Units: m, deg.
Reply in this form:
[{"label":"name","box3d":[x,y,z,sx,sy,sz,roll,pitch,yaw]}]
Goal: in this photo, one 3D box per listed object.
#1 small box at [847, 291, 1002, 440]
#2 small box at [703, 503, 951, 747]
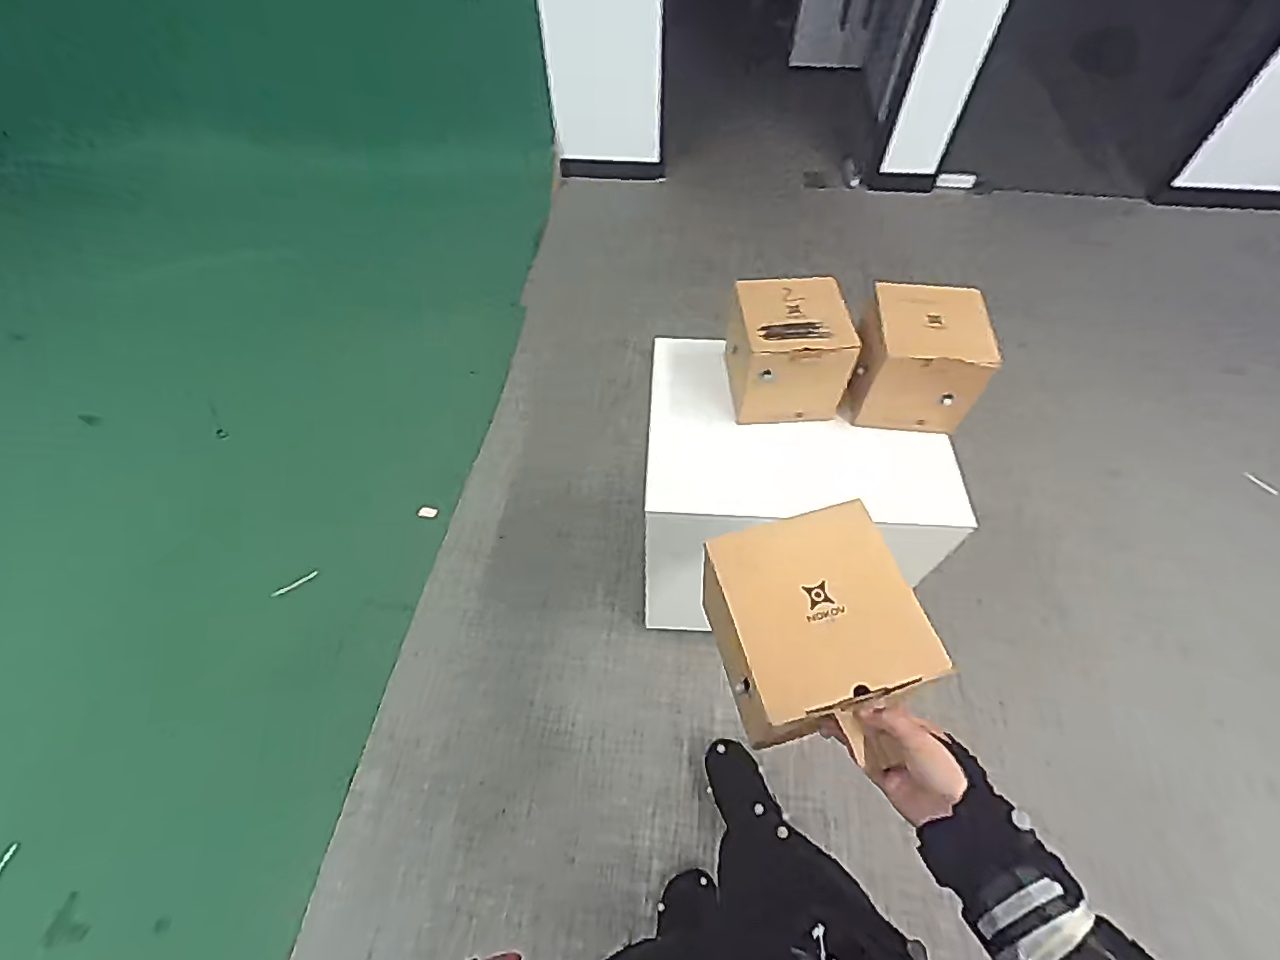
[{"label":"small box","box3d":[0.458,-0.187,0.903,0.168,0.176,0.179,6,55,4]},{"label":"small box","box3d":[0.167,0.153,0.557,0.168,0.176,0.179,-14,57,-5]}]
